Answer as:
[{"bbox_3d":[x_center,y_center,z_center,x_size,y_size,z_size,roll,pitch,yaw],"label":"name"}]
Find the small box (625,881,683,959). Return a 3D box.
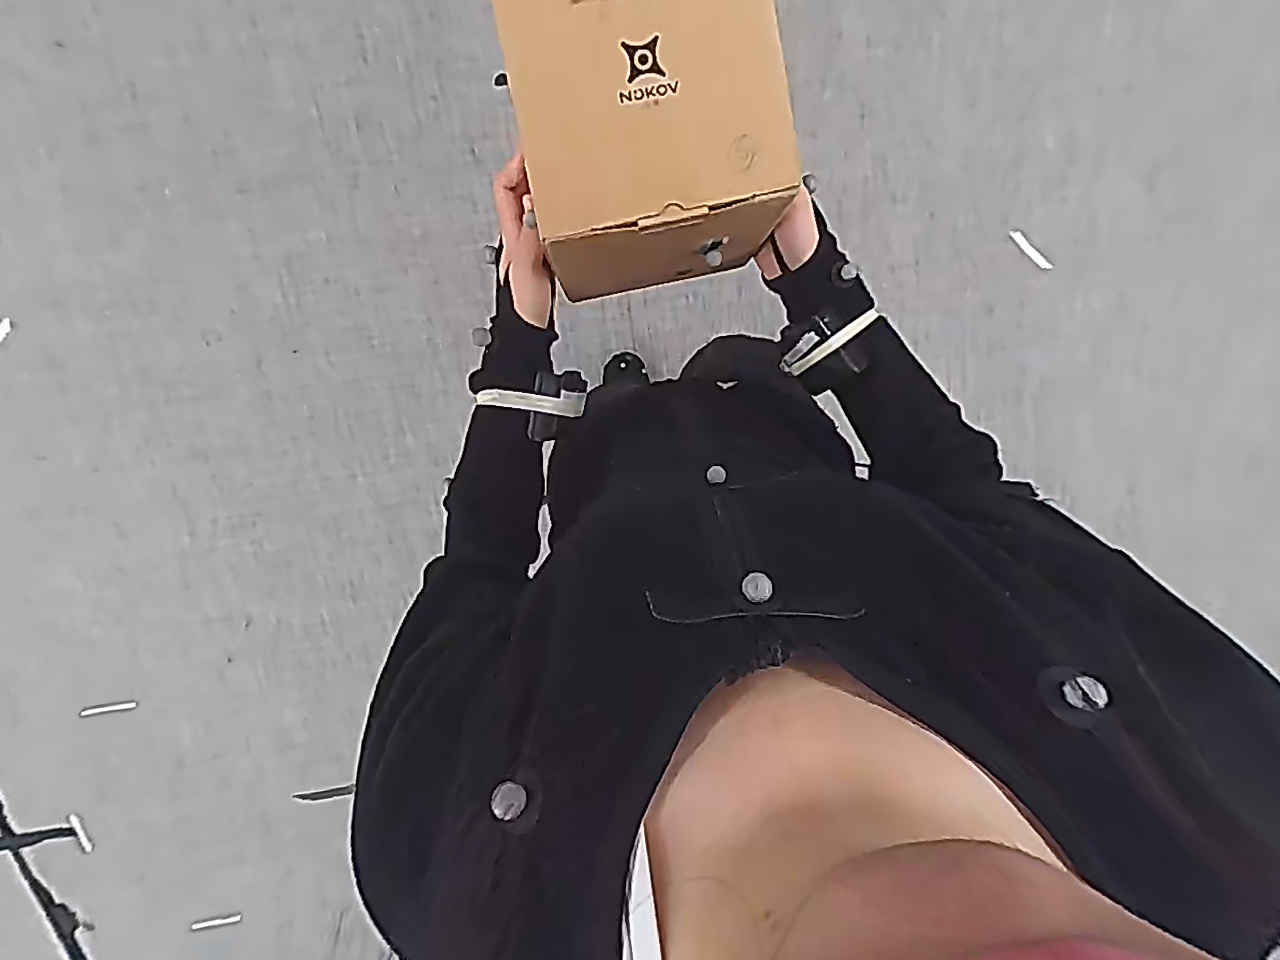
[{"bbox_3d":[0.044,1.462,1.764,0.168,0.176,0.179,-10,103,-3],"label":"small box"}]
